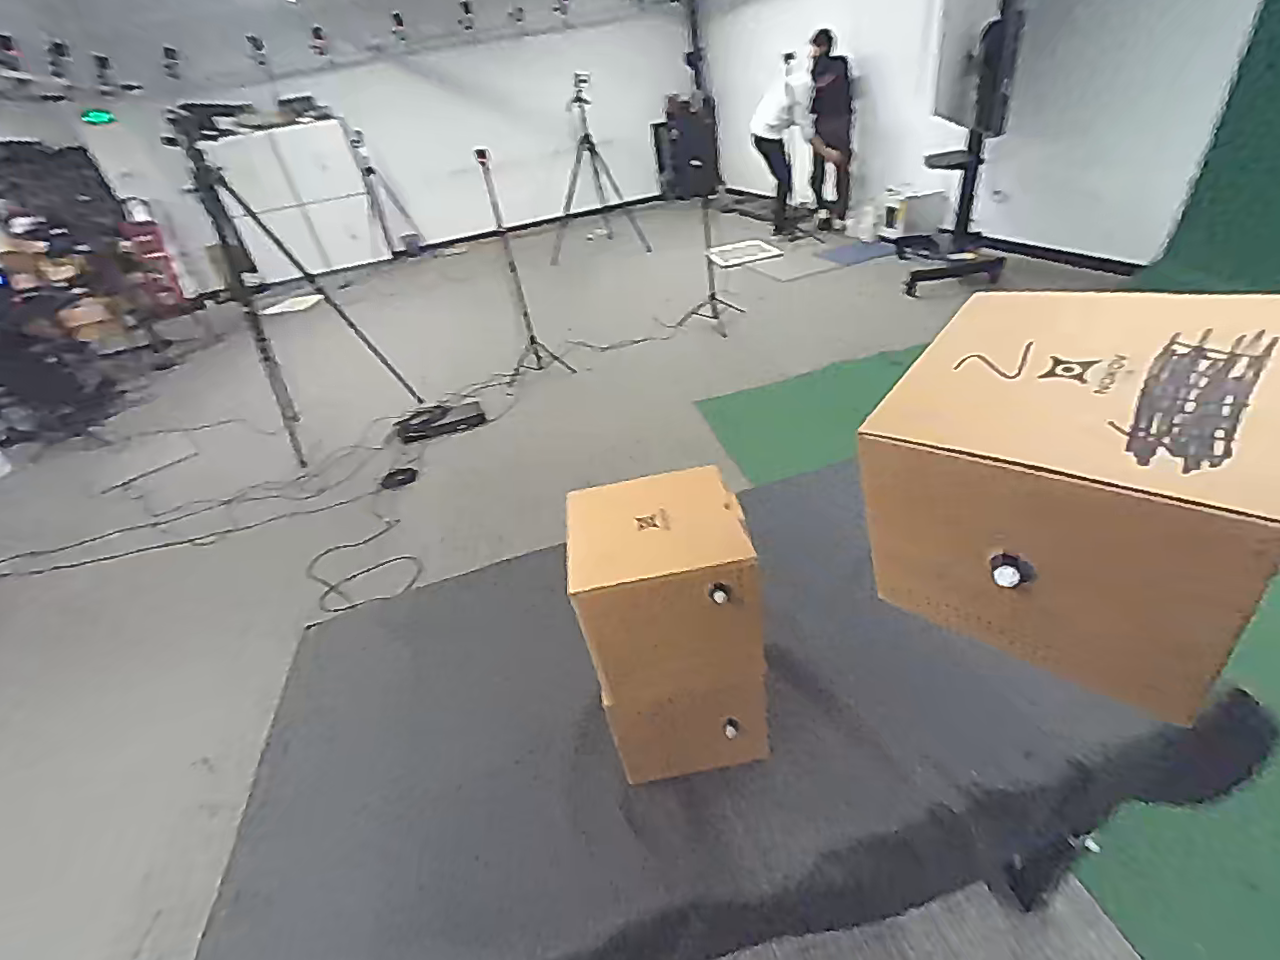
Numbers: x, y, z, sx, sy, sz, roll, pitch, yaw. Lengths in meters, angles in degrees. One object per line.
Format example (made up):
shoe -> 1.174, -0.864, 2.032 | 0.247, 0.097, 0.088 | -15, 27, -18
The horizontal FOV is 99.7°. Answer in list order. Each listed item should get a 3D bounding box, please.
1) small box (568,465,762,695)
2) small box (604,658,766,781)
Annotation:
small box -> 0.026, 0.109, 0.592 | 0.179, 0.176, 0.168 | -11, 33, -1
small box -> 0.051, 0.244, 0.679 | 0.179, 0.176, 0.168 | -12, 33, 0
